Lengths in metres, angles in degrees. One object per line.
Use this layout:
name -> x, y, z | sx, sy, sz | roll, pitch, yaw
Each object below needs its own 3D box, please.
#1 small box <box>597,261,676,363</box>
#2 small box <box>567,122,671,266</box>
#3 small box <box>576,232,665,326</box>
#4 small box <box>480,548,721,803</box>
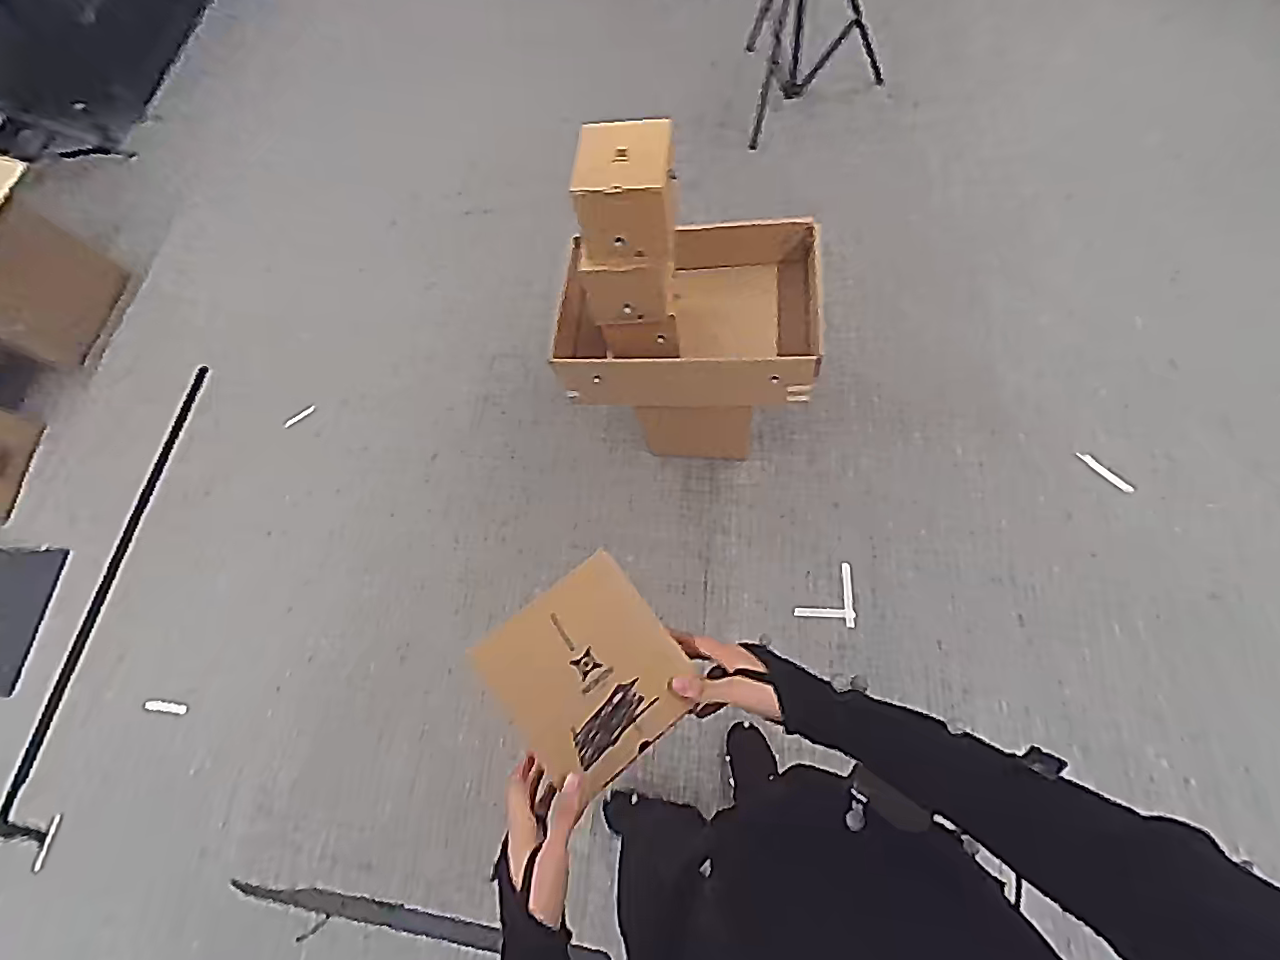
small box -> -0.003, -0.403, 1.318 | 0.179, 0.176, 0.168 | -4, 67, 7
small box -> -0.030, -0.532, 1.019 | 0.168, 0.176, 0.179 | 1, 68, 8
small box -> -0.036, -0.458, 1.167 | 0.168, 0.176, 0.179 | -2, 68, 7
small box -> -0.044, 0.196, 0.586 | 0.168, 0.176, 0.179 | -35, 83, -15
